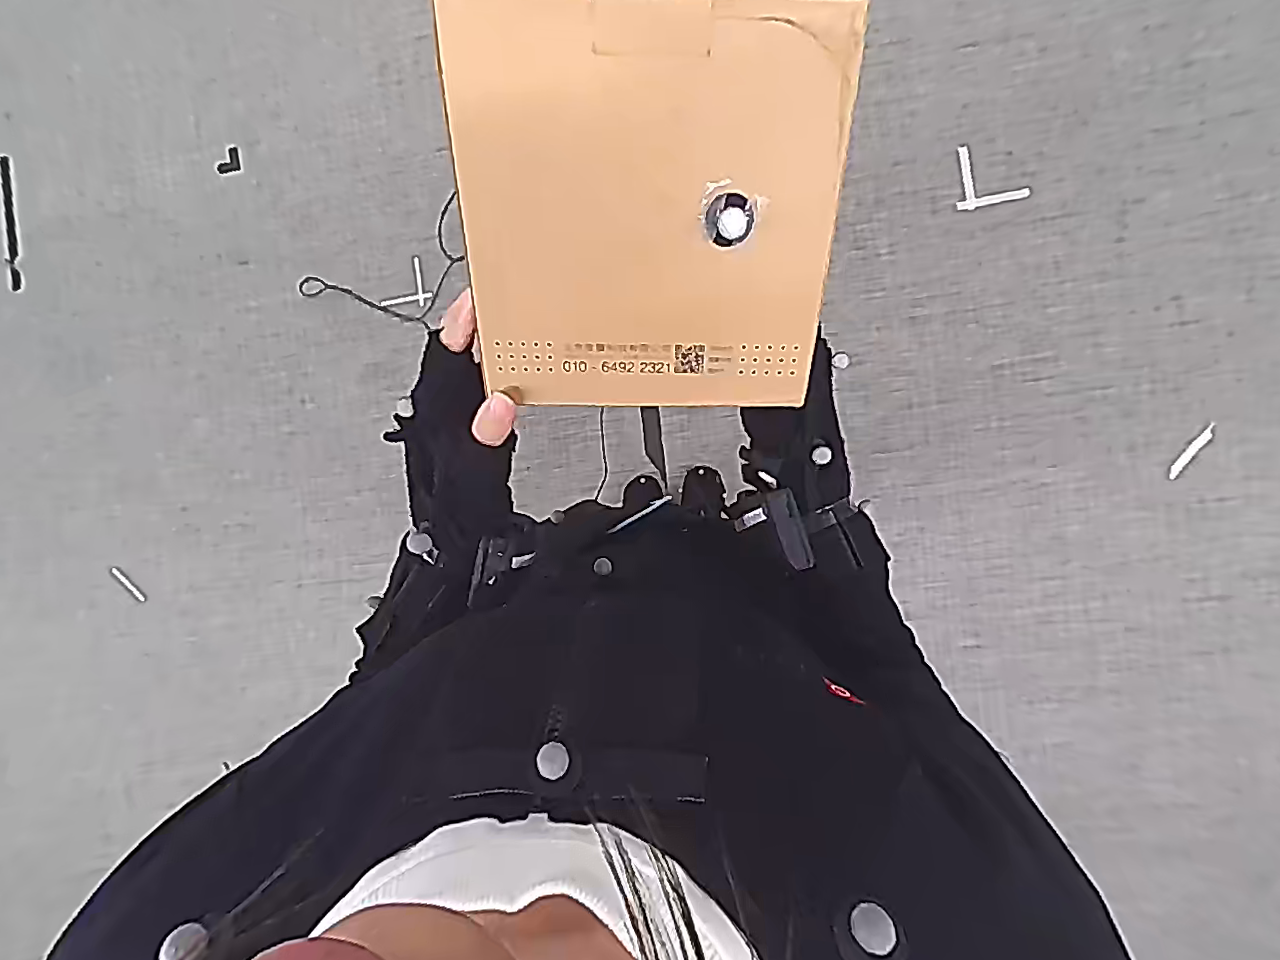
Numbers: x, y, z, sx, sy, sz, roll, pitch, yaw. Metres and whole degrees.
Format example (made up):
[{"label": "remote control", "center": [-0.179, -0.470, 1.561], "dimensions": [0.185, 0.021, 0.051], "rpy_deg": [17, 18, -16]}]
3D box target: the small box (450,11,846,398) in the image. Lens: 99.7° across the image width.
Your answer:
[{"label": "small box", "center": [0.006, -0.157, 0.329], "dimensions": [0.168, 0.179, 0.176], "rpy_deg": [1, 120, 1]}]
